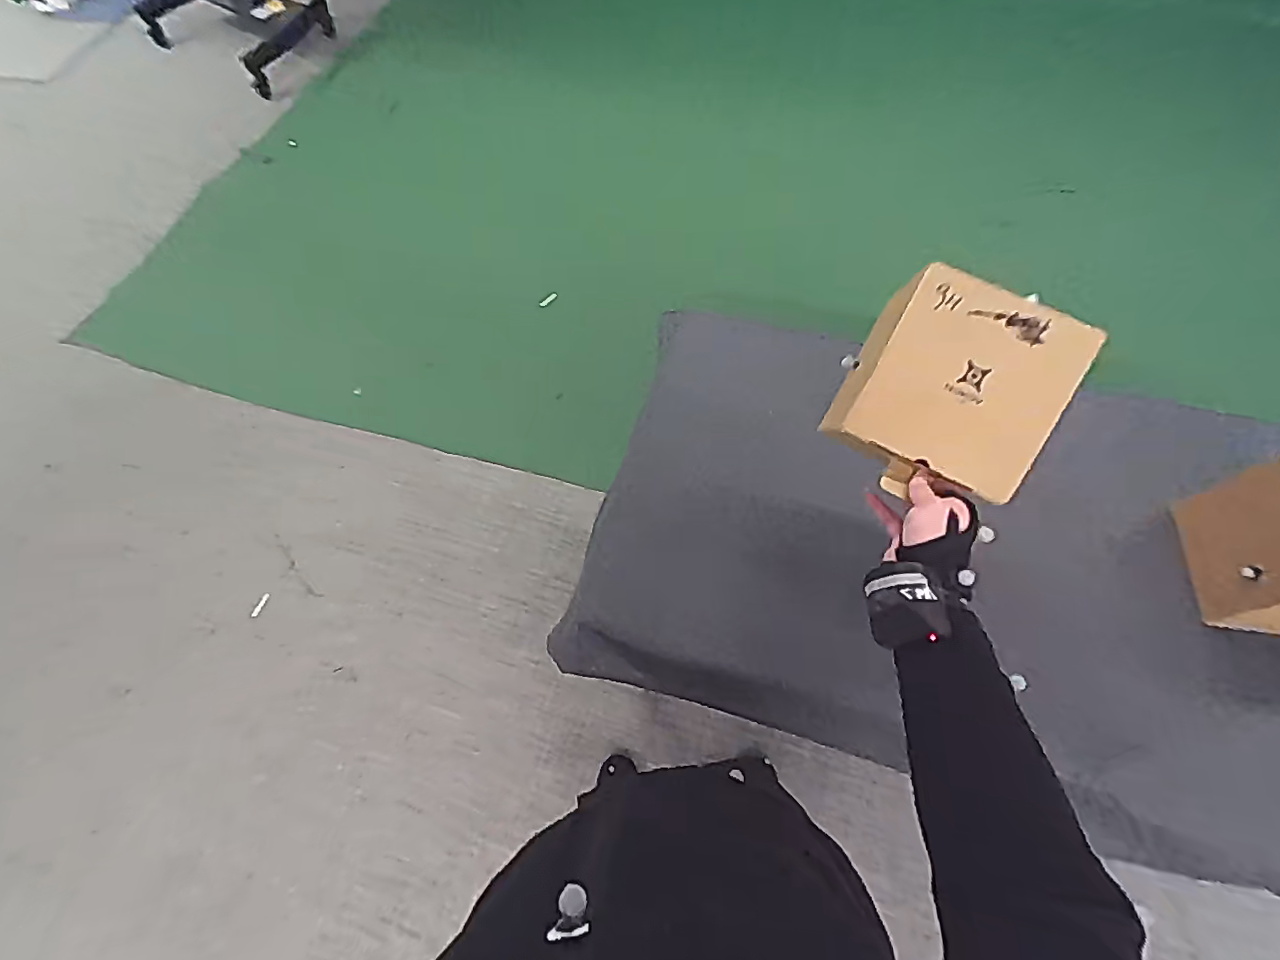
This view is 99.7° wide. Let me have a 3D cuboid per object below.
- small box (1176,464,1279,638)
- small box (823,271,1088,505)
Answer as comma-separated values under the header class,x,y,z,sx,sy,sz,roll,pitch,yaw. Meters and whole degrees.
class,x,y,z,sx,sy,sz,roll,pitch,yaw
small box,0.840,0.101,0.673,0.168,0.176,0.179,7,63,6
small box,0.318,-0.091,0.594,0.168,0.176,0.179,28,97,8
